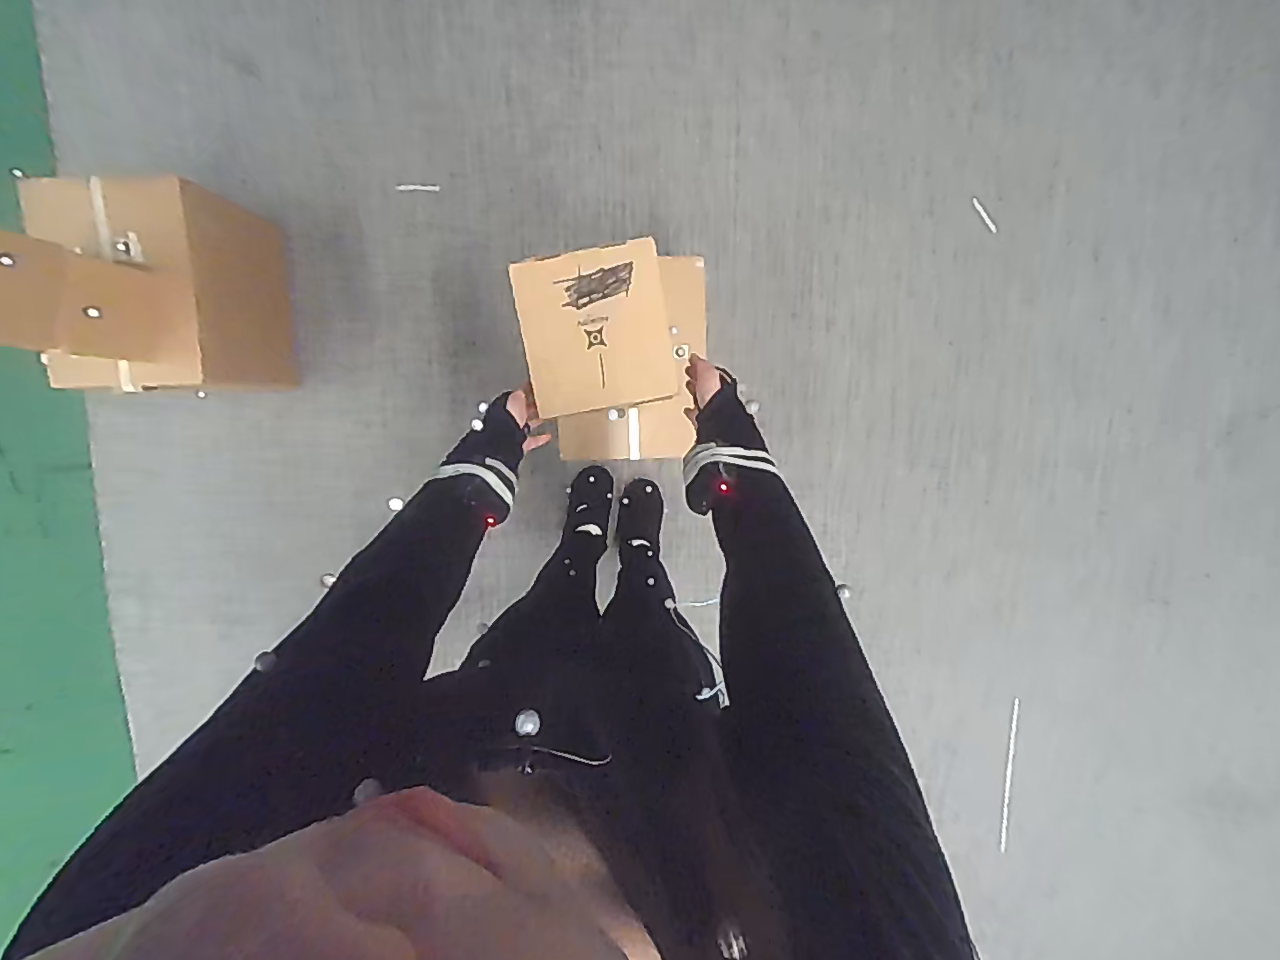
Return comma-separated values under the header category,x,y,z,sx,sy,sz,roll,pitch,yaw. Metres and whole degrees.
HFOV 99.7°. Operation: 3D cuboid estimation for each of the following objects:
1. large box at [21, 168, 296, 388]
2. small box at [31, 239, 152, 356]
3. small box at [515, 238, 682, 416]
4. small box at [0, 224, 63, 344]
category,x,y,z,sx,sy,sz,roll,pitch,yaw
large box,-1.034,-0.417,1.212,0.320,0.320,0.408,-1,98,-1
small box,-1.038,-0.331,0.980,0.168,0.176,0.179,10,99,-2
small box,-0.045,-0.181,0.683,0.168,0.176,0.179,-10,99,2
small box,-1.041,-0.316,0.817,0.168,0.176,0.179,13,99,-1
